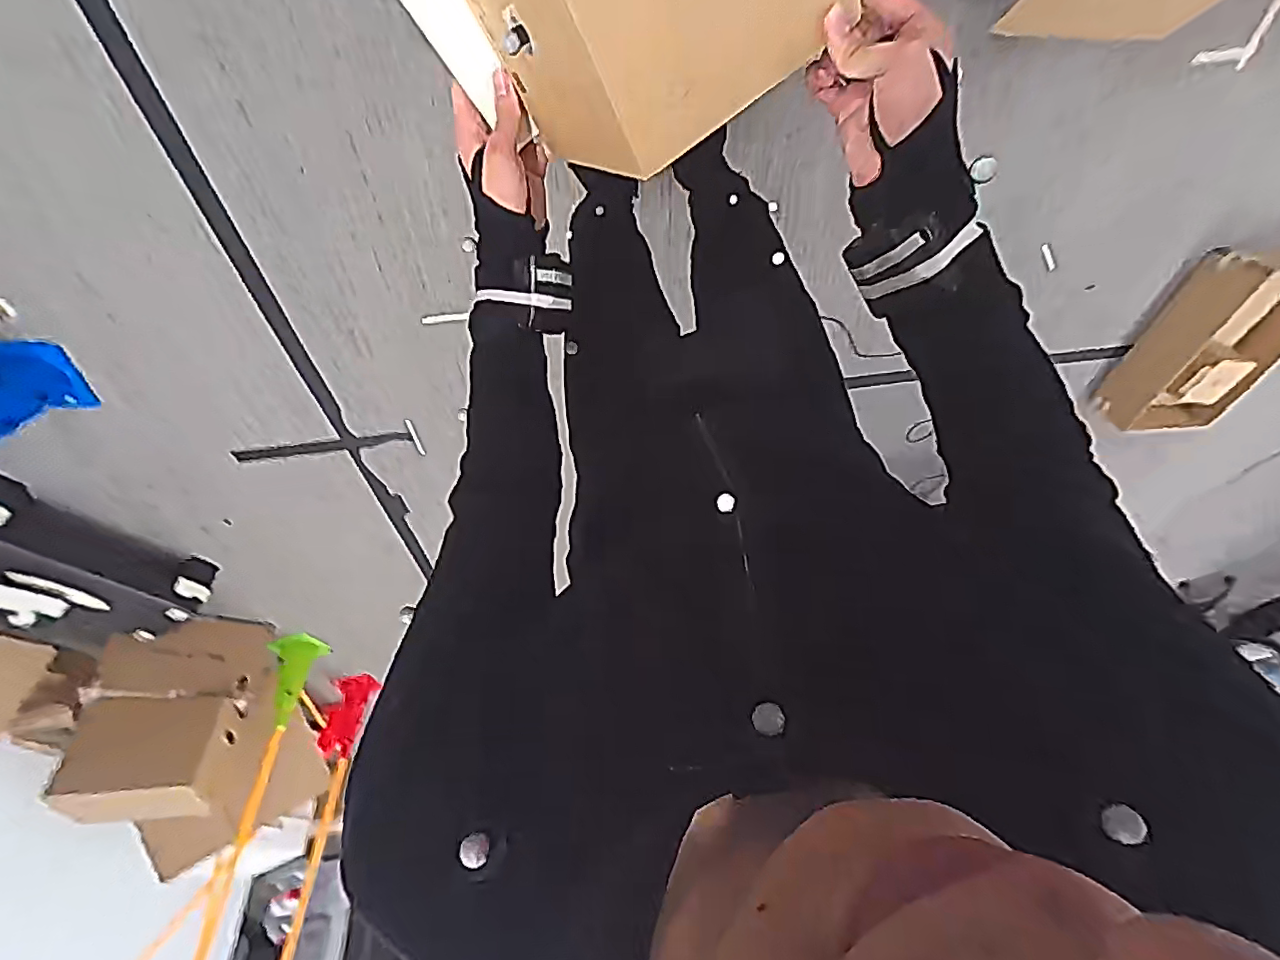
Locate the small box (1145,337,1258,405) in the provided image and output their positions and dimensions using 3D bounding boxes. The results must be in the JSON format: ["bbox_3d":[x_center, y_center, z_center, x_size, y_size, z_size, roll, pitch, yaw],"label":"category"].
[{"bbox_3d":[1.932,-0.380,1.872,0.179,0.176,0.168,2,134,-15],"label":"small box"}]

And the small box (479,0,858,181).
[{"bbox_3d":[0.000,-0.322,0.339,0.179,0.176,0.168,-39,135,-3],"label":"small box"}]
